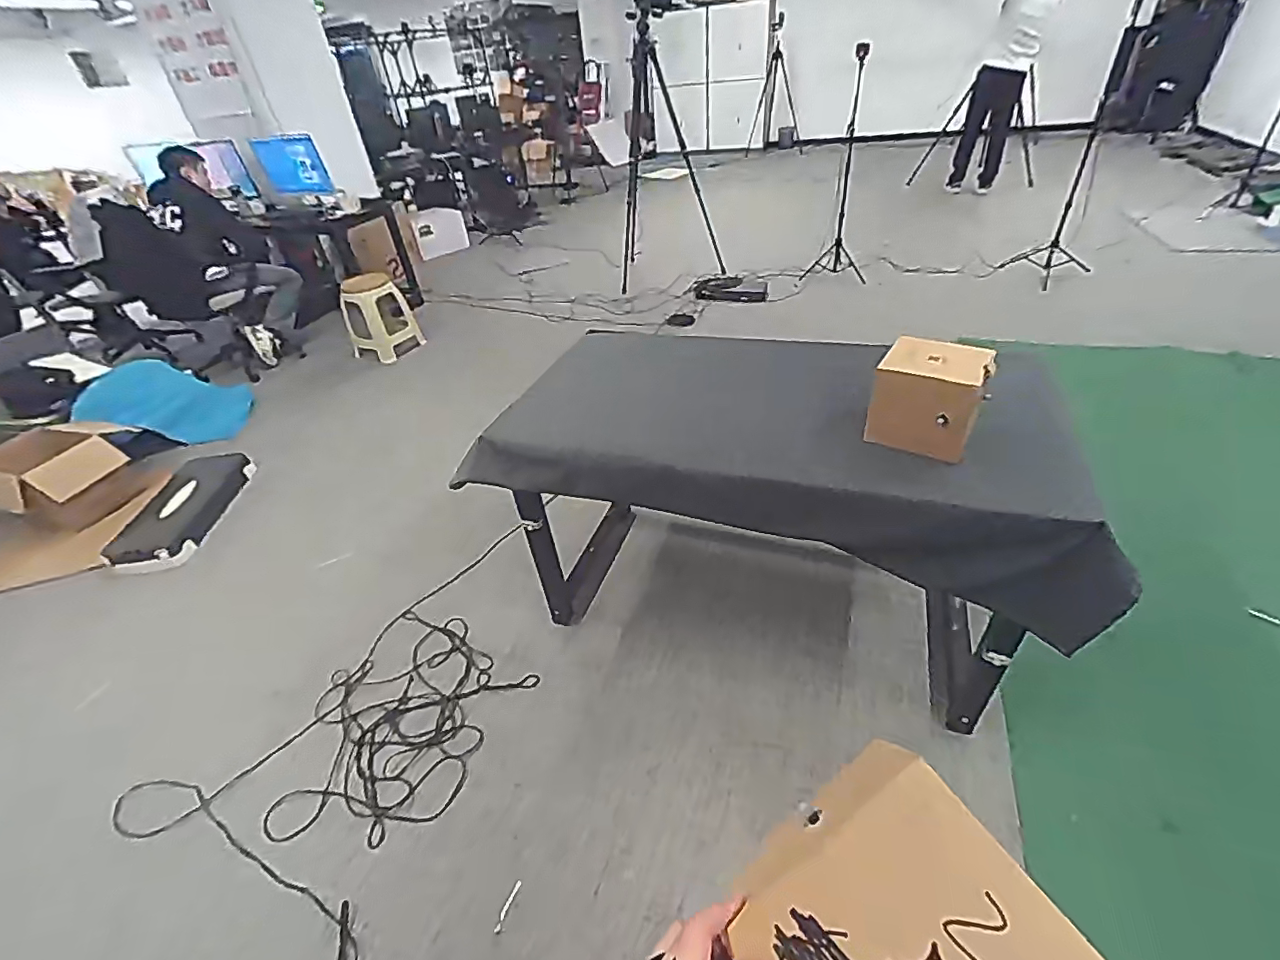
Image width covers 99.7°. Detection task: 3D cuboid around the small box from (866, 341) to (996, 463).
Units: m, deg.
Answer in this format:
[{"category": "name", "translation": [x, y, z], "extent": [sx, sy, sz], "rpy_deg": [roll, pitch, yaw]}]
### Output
[{"category": "small box", "translation": [0.567, -0.153, 1.066], "extent": [0.179, 0.176, 0.168], "rpy_deg": [19, 43, 31]}]
